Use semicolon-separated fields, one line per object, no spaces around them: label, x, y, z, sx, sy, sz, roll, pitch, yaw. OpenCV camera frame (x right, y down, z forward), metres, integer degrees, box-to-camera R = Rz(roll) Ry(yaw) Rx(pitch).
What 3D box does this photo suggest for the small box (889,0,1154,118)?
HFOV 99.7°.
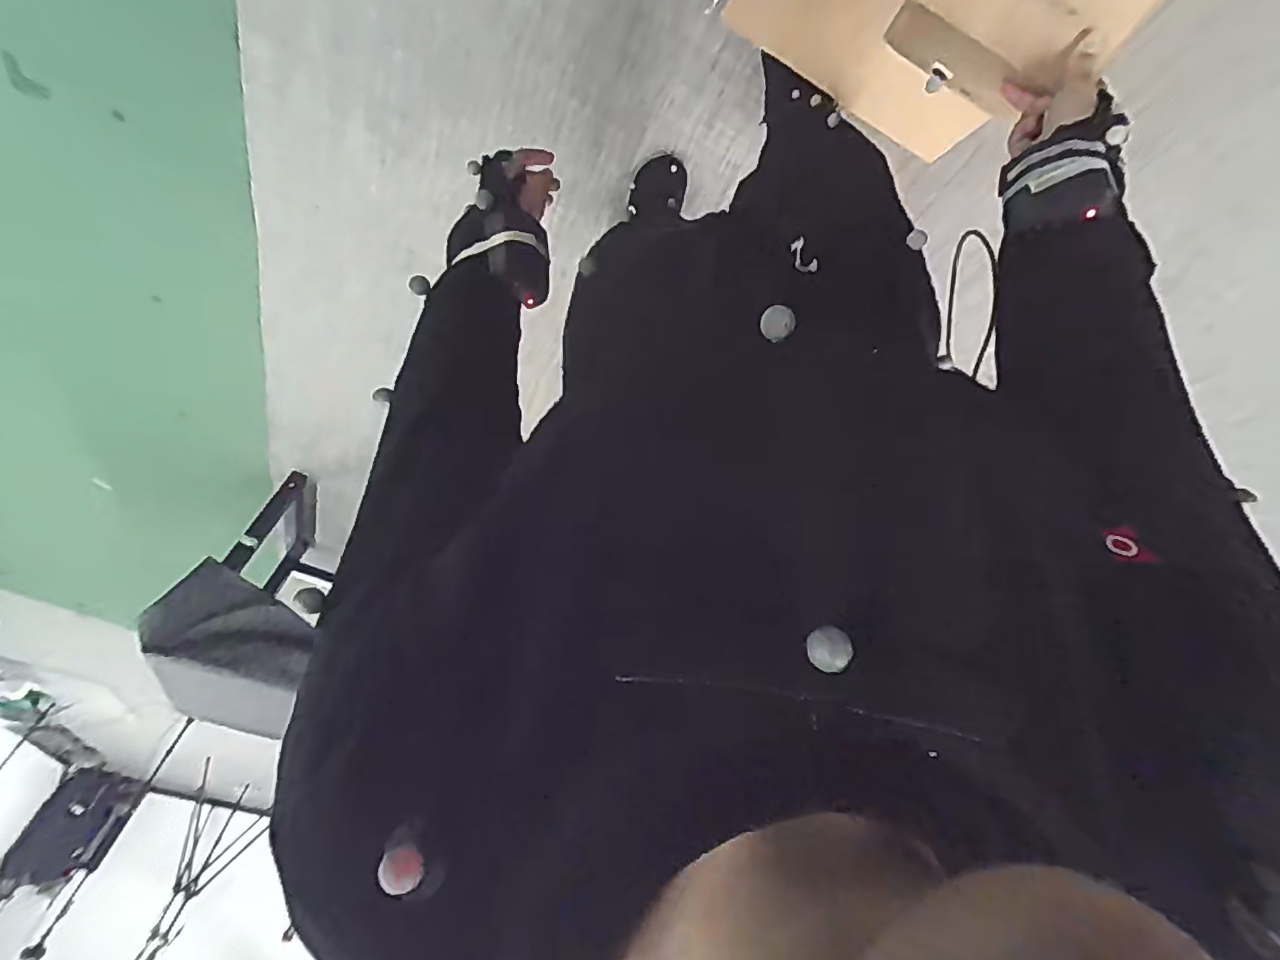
small box;0.345;-0.452;0.468;0.168;0.176;0.179;30;121;-2
